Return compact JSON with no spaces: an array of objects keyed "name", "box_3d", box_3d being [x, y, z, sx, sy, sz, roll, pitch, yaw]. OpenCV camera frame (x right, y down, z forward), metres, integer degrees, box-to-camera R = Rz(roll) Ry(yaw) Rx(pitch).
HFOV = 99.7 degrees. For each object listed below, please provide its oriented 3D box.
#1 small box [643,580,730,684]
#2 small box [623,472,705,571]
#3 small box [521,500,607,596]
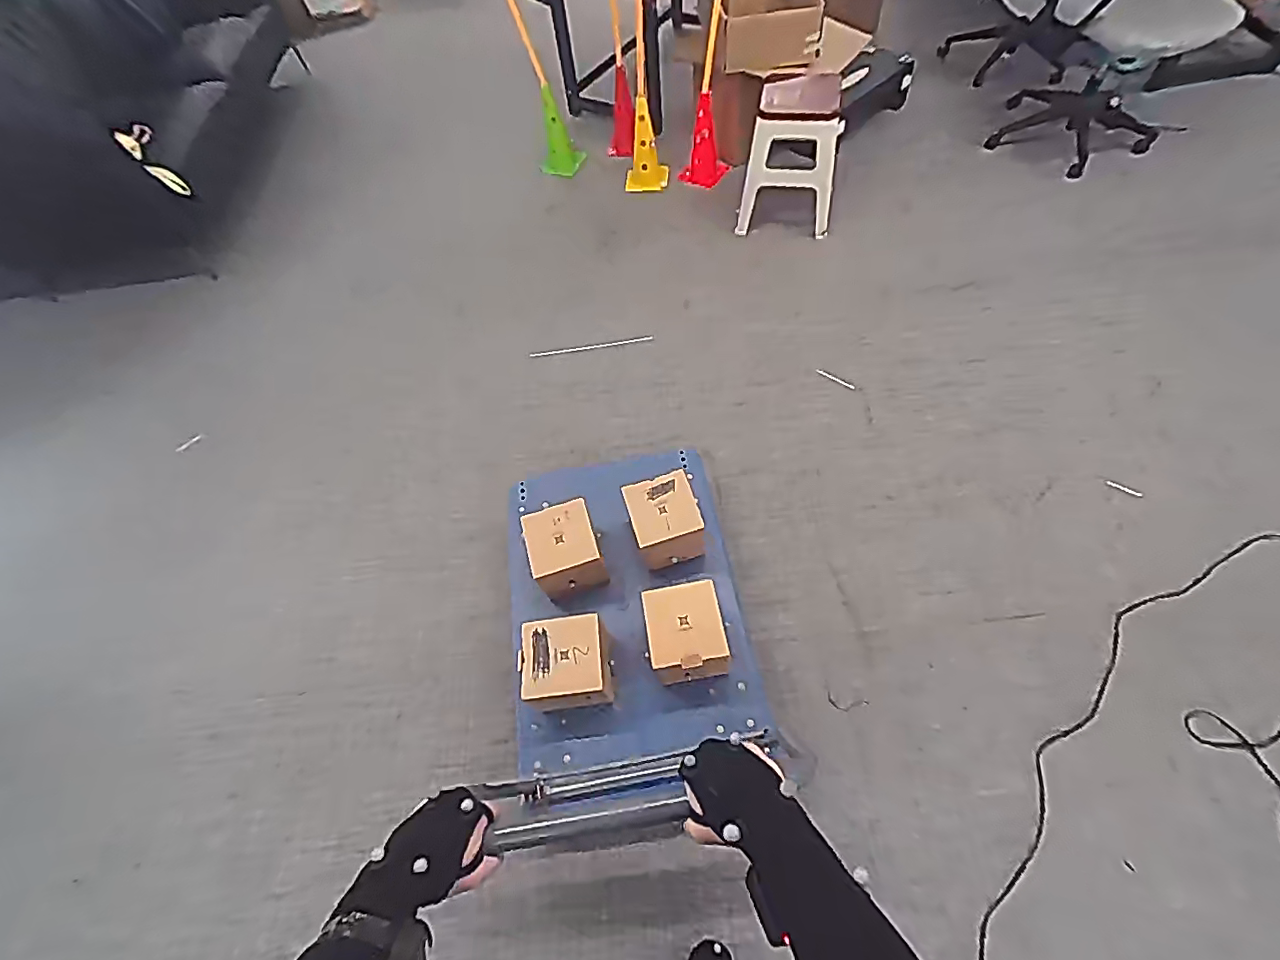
[{"name":"small box","box_3d":[0.104,0.353,1.244,0.168,0.176,0.179,-11,60,1]},{"name":"small box","box_3d":[0.062,0.110,1.390,0.168,0.176,0.179,-17,60,-3]},{"name":"small box","box_3d":[-0.189,0.181,1.378,0.168,0.176,0.179,-17,60,-4]}]
